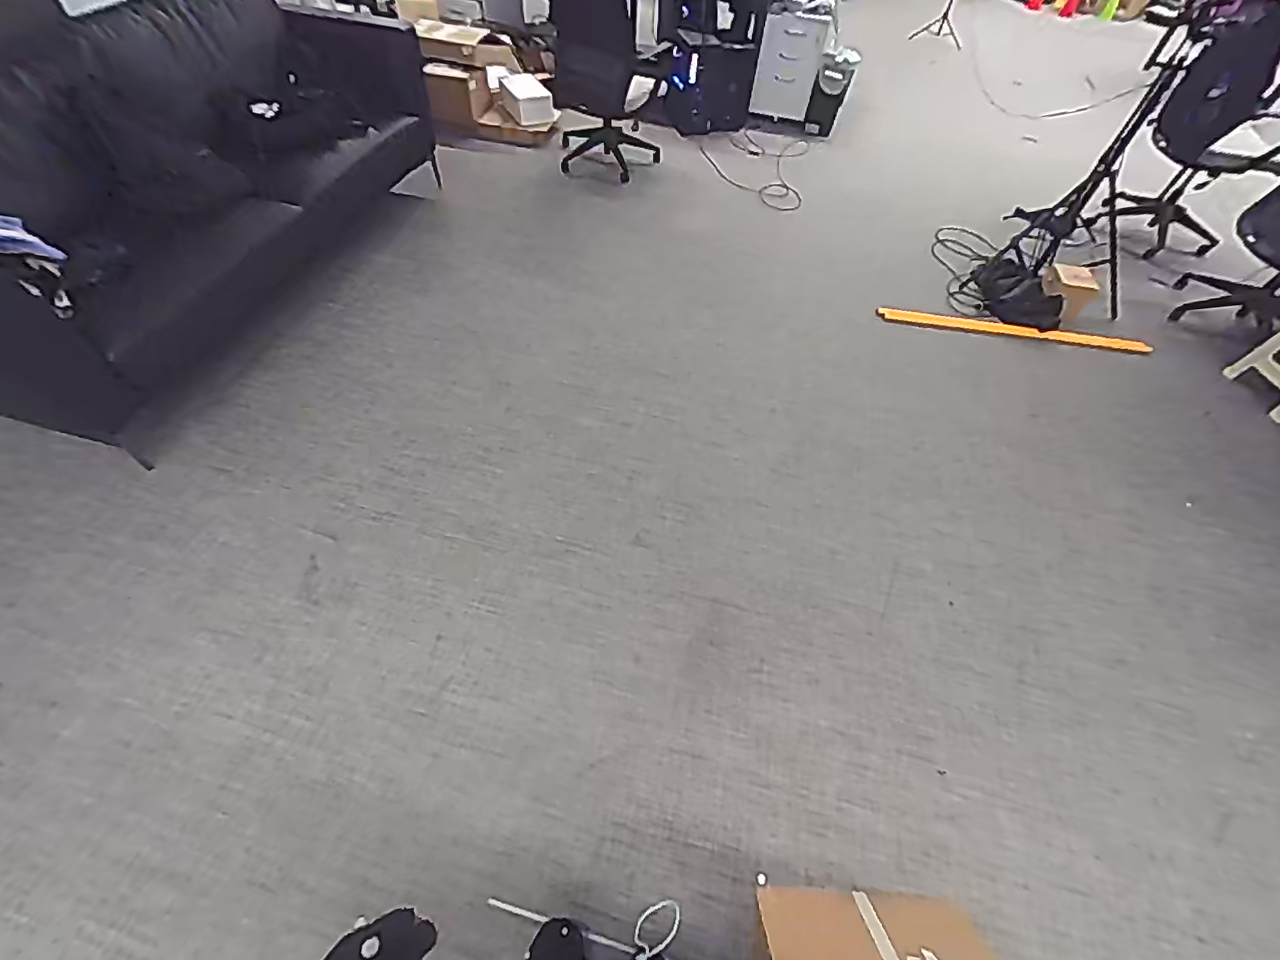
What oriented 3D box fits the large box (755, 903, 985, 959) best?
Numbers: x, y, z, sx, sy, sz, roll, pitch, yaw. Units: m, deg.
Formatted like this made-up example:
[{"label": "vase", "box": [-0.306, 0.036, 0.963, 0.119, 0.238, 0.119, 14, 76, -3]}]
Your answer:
[{"label": "large box", "box": [0.322, 0.813, 0.636, 0.320, 0.408, 0.320, 4, 90, 2]}]
